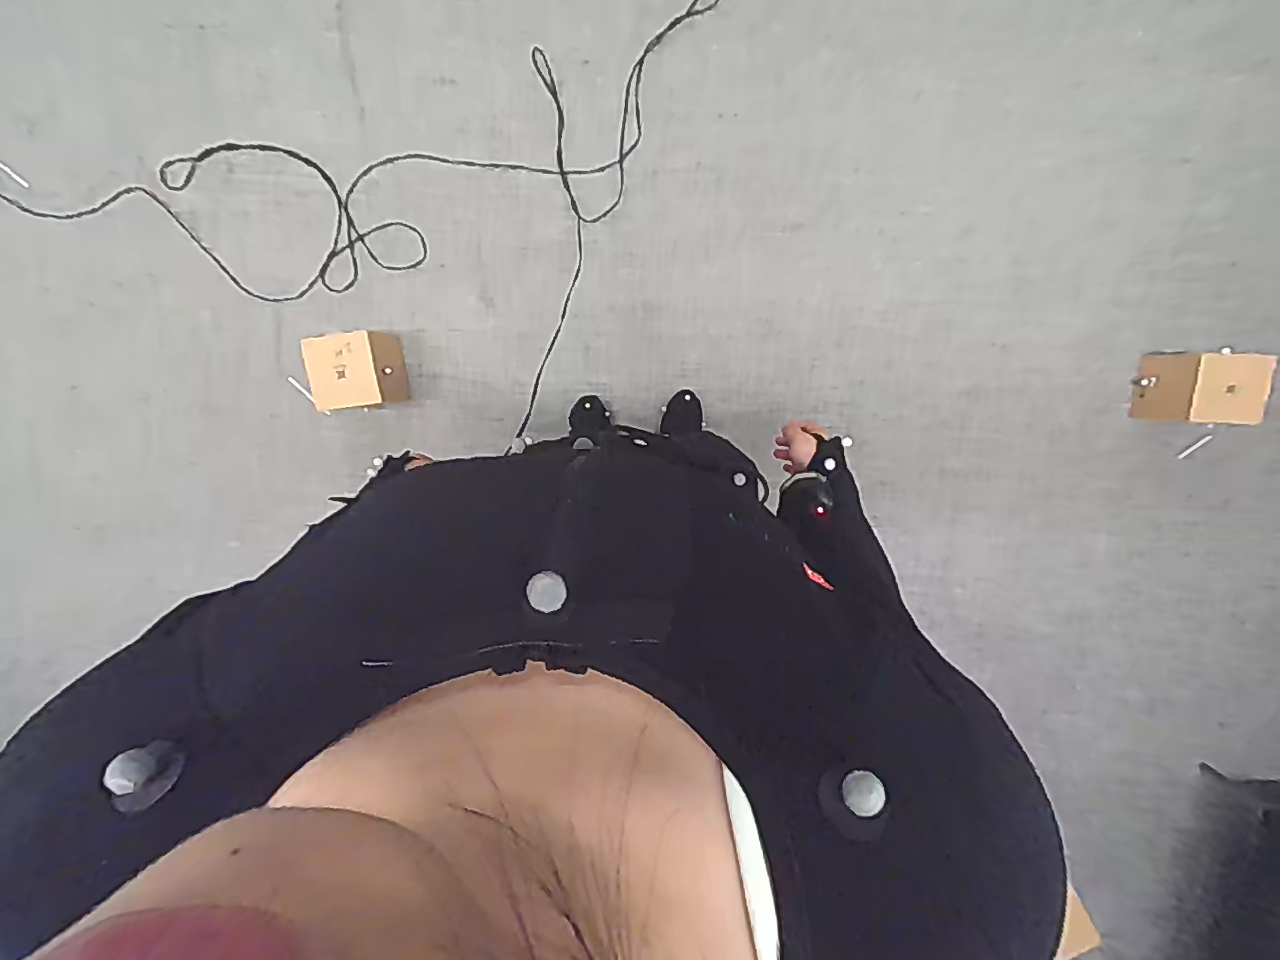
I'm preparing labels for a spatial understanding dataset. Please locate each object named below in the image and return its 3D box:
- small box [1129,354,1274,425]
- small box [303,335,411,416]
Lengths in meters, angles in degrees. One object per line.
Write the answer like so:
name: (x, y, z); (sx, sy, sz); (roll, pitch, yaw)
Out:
small box: (1.408, -0.229, 1.368); (0.179, 0.176, 0.168); (1, 99, 1)
small box: (-0.702, -0.262, 1.362); (0.168, 0.176, 0.179); (-8, 100, 2)
